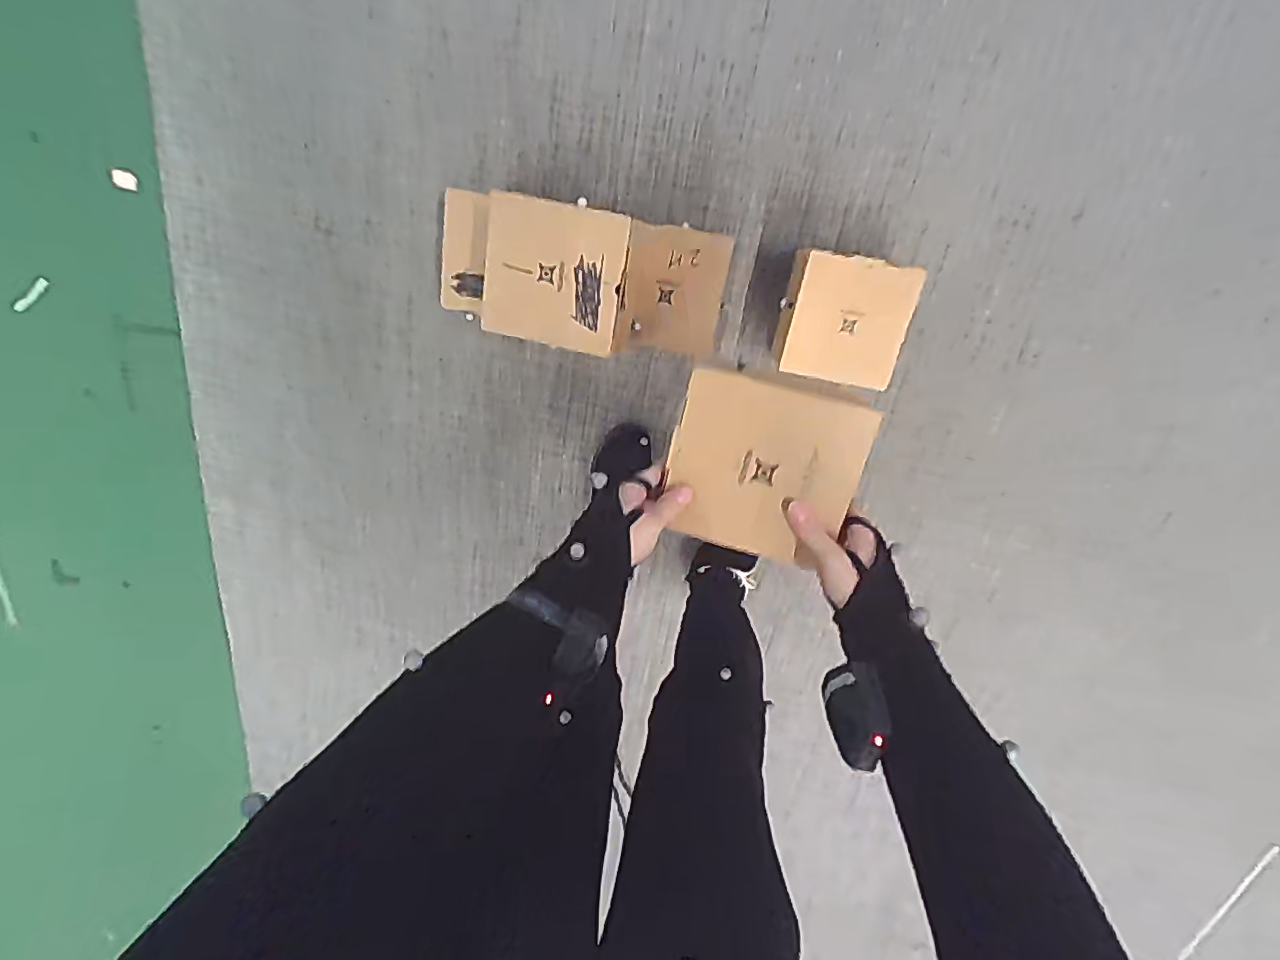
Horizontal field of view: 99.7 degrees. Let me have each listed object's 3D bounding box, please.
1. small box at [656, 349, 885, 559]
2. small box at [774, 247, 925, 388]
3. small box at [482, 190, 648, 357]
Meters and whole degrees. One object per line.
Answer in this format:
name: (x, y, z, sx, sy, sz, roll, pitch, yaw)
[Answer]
small box: (0.132, -0.042, 0.589, 0.179, 0.176, 0.168, 16, 109, 6)
small box: (0.315, -0.261, 0.861, 0.168, 0.176, 0.179, 12, 111, 4)
small box: (-0.093, -0.277, 0.734, 0.179, 0.176, 0.168, 13, 111, 4)
